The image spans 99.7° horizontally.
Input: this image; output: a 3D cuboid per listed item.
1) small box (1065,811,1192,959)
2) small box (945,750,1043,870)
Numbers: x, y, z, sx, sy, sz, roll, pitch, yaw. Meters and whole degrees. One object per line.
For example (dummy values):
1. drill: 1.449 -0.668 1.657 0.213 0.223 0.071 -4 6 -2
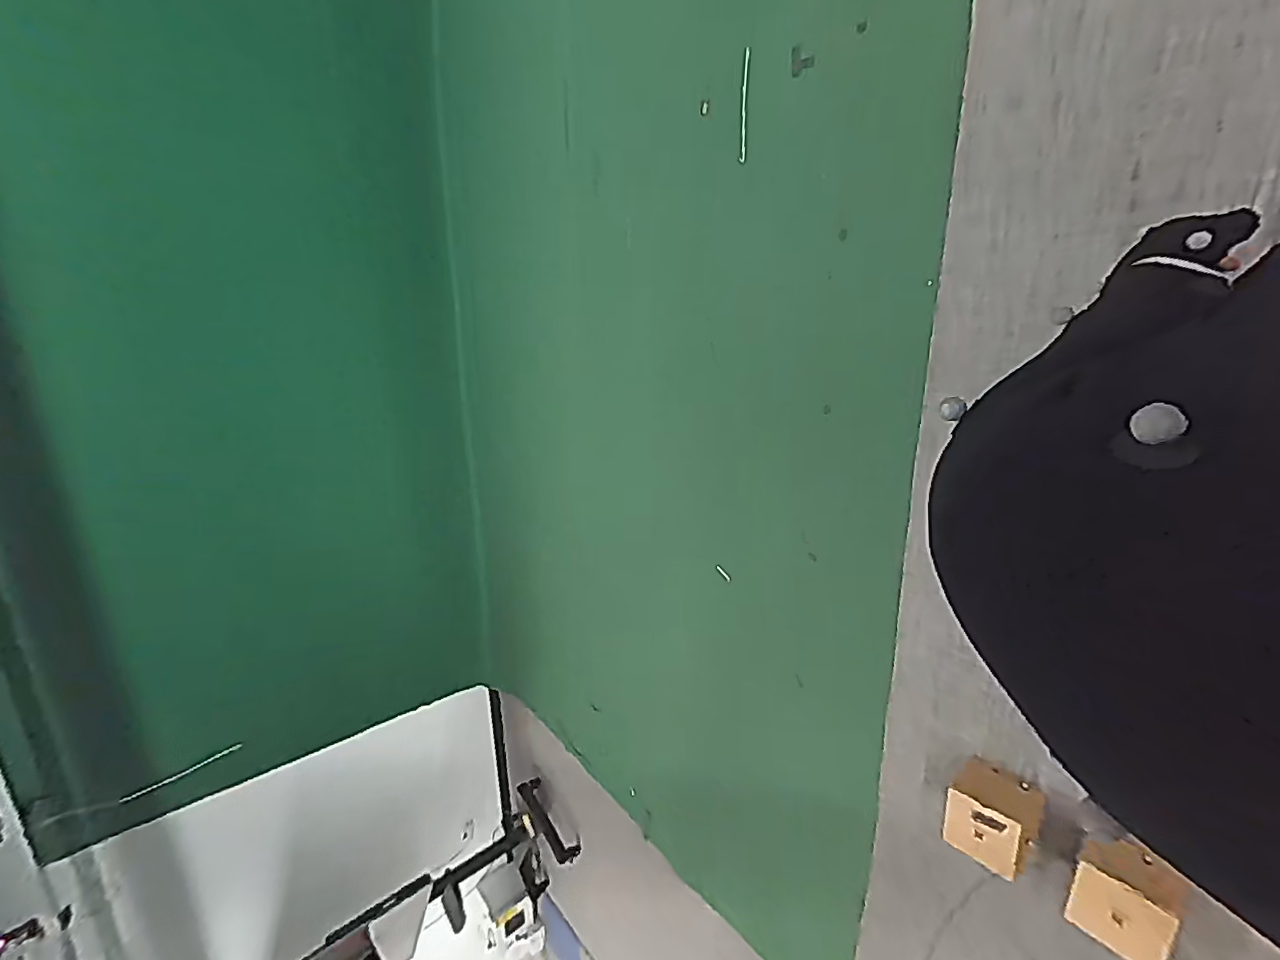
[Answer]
1. small box: 1.102 0.907 1.220 0.168 0.176 0.179 19 115 49
2. small box: 0.933 0.854 1.423 0.168 0.176 0.179 15 112 50
